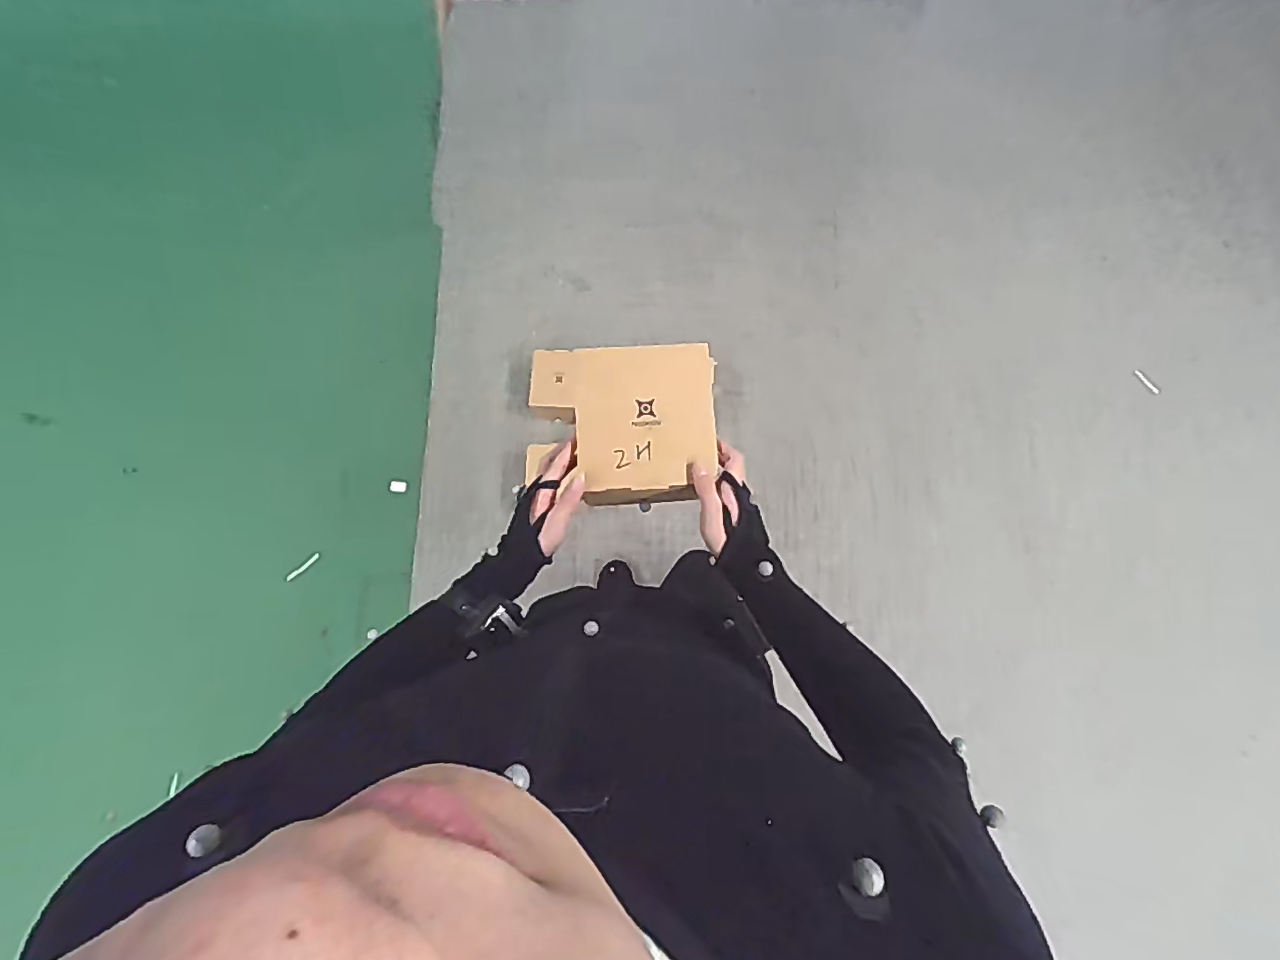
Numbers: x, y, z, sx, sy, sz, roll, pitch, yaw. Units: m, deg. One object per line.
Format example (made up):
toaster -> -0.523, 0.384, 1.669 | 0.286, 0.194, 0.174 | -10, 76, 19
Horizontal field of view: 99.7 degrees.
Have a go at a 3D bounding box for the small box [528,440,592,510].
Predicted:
small box -> -0.230, -0.011, 1.619 | 0.168, 0.176, 0.179 | 2, 80, 3

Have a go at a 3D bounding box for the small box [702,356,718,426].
small box -> 0.145, -0.268, 1.648 | 0.168, 0.176, 0.179 | 3, 81, 2

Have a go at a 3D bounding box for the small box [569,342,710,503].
small box -> -0.005, -0.068, 0.721 | 0.168, 0.176, 0.179 | -3, 82, -2
